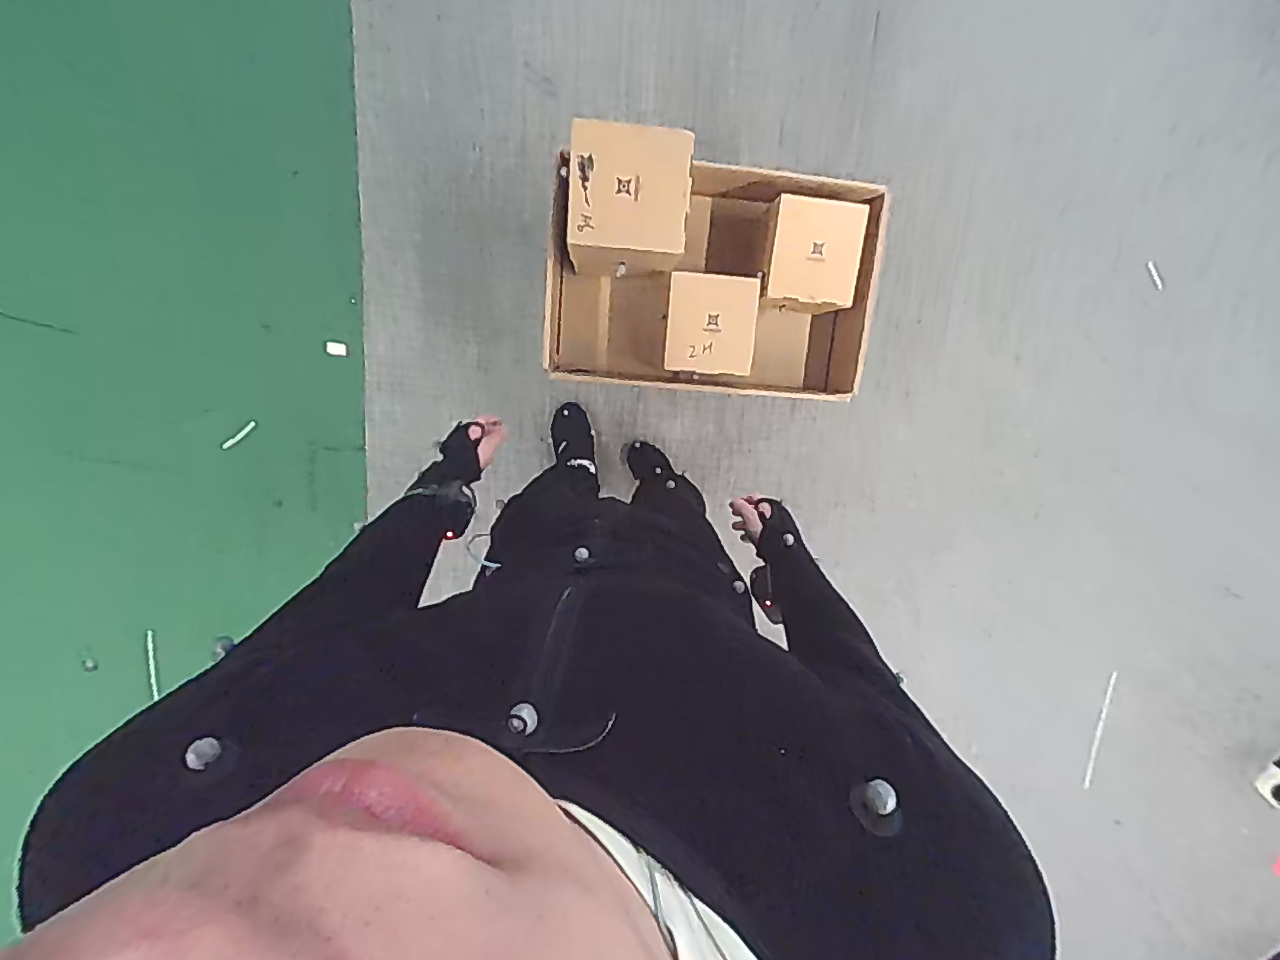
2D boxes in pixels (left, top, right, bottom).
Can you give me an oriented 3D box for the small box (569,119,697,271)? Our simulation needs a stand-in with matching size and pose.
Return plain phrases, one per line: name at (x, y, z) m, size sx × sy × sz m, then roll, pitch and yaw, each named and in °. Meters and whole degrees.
small box at (-0.019, -0.433, 0.852) m, size 0.179 × 0.176 × 0.168 m, roll 3°, pitch 102°, yaw -6°
